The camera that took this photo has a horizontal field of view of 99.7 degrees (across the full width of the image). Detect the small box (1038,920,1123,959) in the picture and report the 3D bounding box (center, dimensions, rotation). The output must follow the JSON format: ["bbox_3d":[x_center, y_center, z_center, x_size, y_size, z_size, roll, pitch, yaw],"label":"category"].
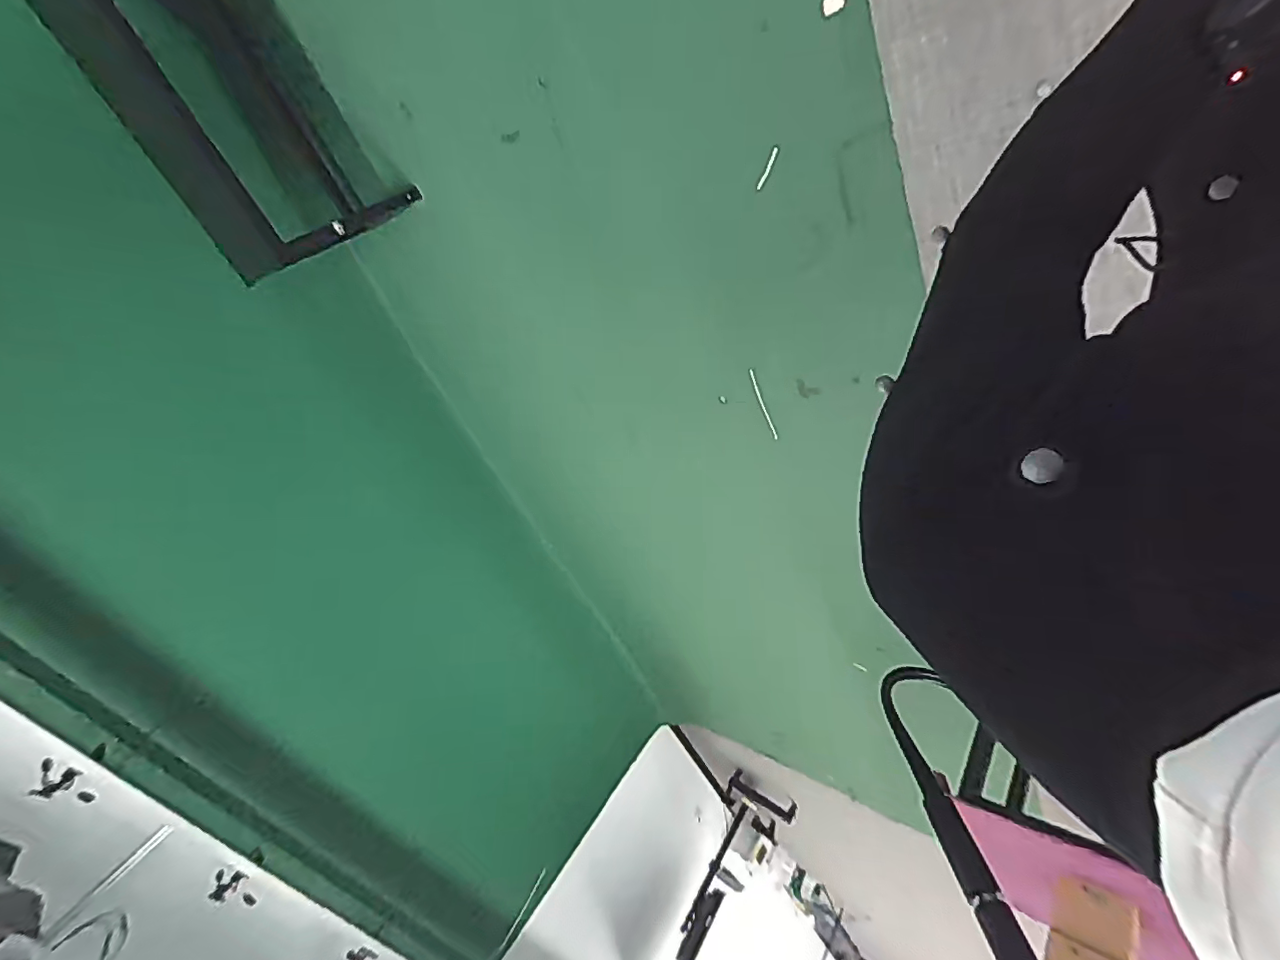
[{"bbox_3d":[1.144,1.302,1.403,0.168,0.176,0.179,2,130,47],"label":"small box"}]
